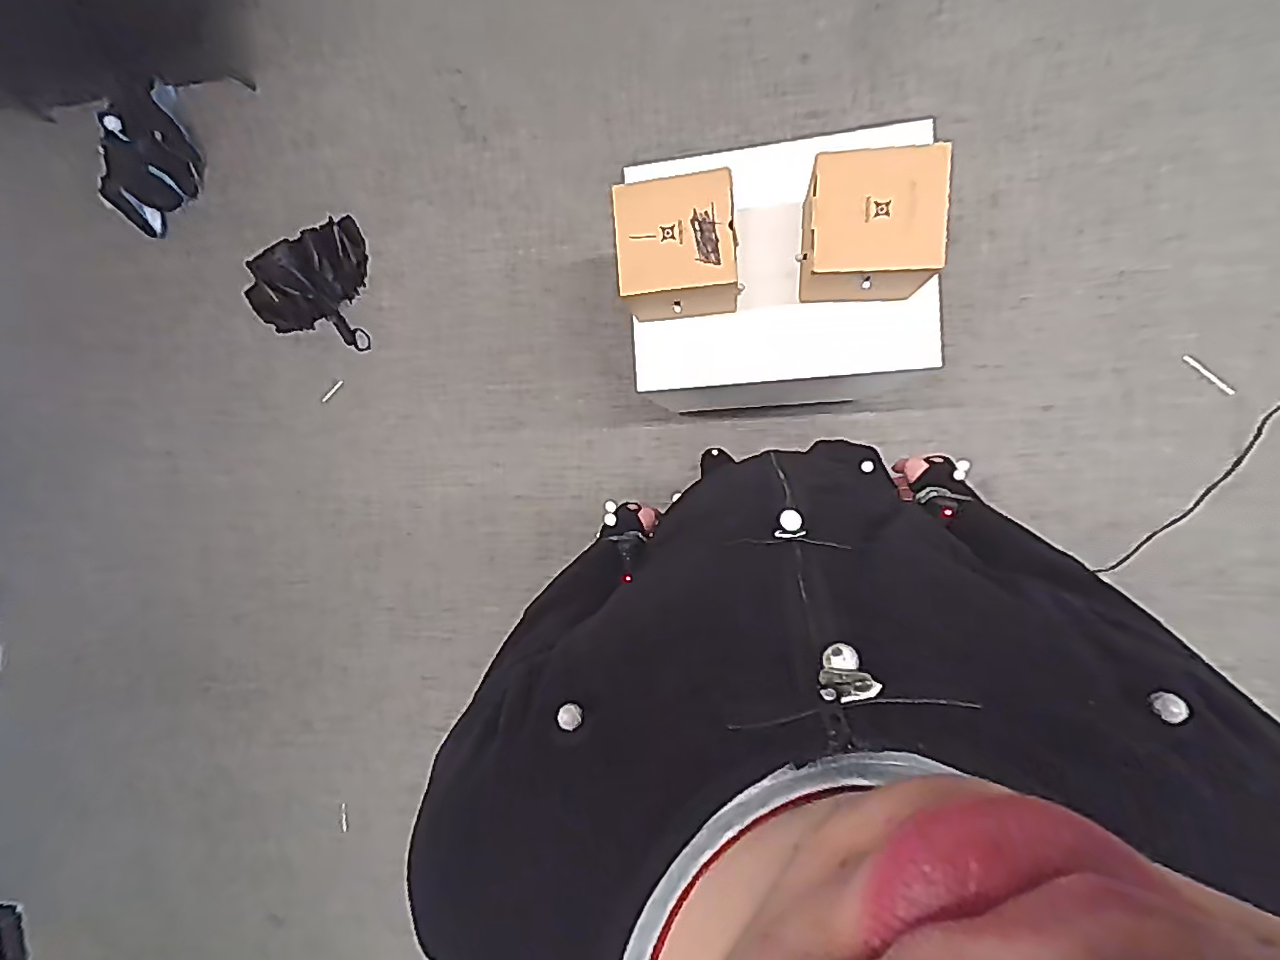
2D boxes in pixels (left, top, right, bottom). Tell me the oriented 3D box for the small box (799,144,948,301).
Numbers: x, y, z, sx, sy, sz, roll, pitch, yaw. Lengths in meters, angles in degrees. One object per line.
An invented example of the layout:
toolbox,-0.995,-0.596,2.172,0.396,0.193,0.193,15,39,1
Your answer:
small box,0.339,-0.375,0.818,0.179,0.176,0.168,2,95,10

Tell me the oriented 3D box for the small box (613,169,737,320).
small box,0.062,-0.363,0.867,0.179,0.176,0.168,-3,92,11
